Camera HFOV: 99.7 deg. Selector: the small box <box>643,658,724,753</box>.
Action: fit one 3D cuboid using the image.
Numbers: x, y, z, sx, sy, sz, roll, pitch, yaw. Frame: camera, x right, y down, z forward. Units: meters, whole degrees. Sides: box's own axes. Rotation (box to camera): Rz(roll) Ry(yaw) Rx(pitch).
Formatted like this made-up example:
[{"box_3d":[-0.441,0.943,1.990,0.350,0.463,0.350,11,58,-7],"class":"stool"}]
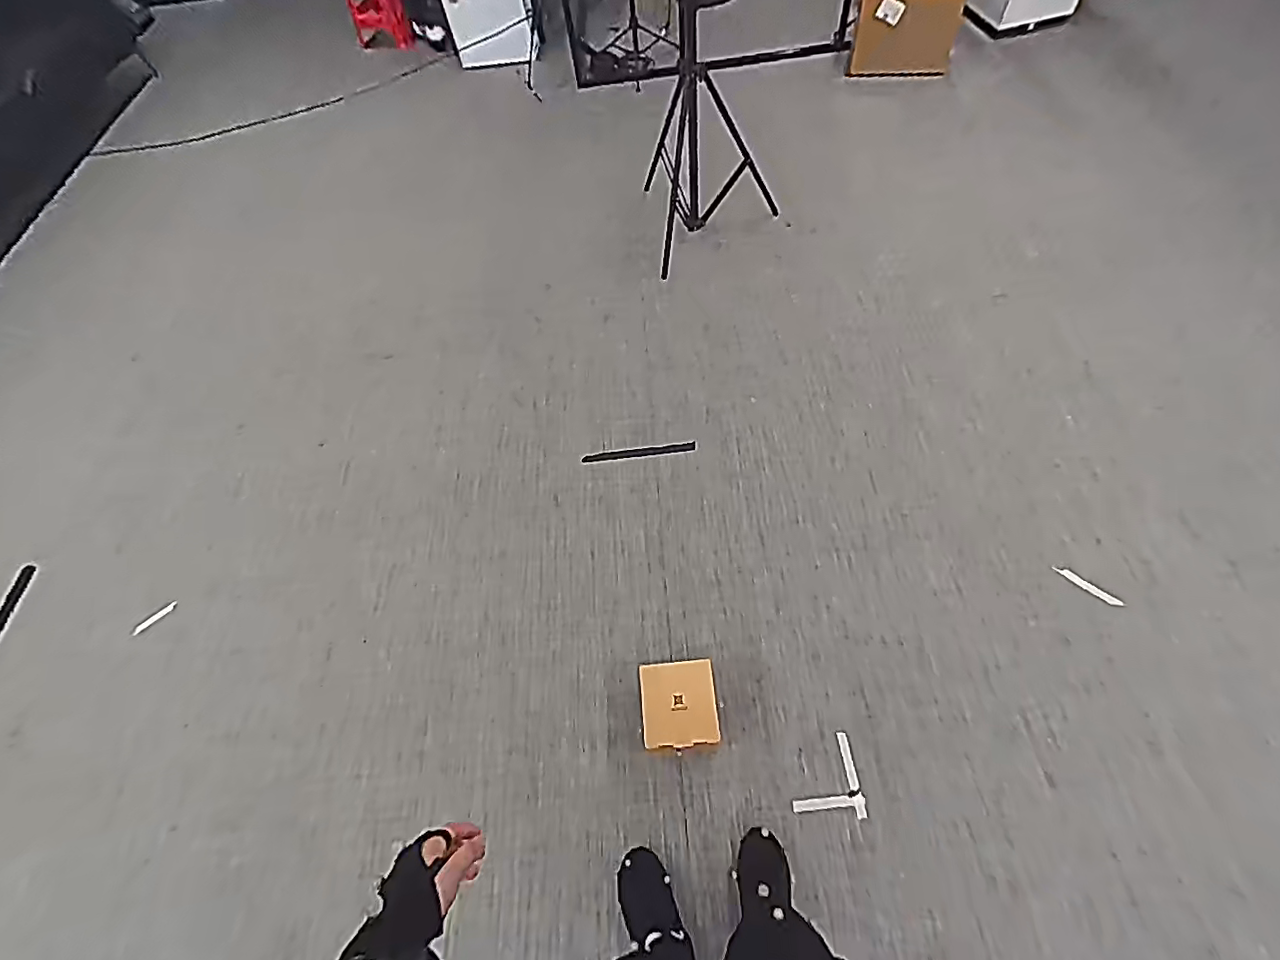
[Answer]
[{"box_3d":[0.099,0.530,1.263,0.168,0.176,0.179,-7,59,2],"class":"small box"}]
